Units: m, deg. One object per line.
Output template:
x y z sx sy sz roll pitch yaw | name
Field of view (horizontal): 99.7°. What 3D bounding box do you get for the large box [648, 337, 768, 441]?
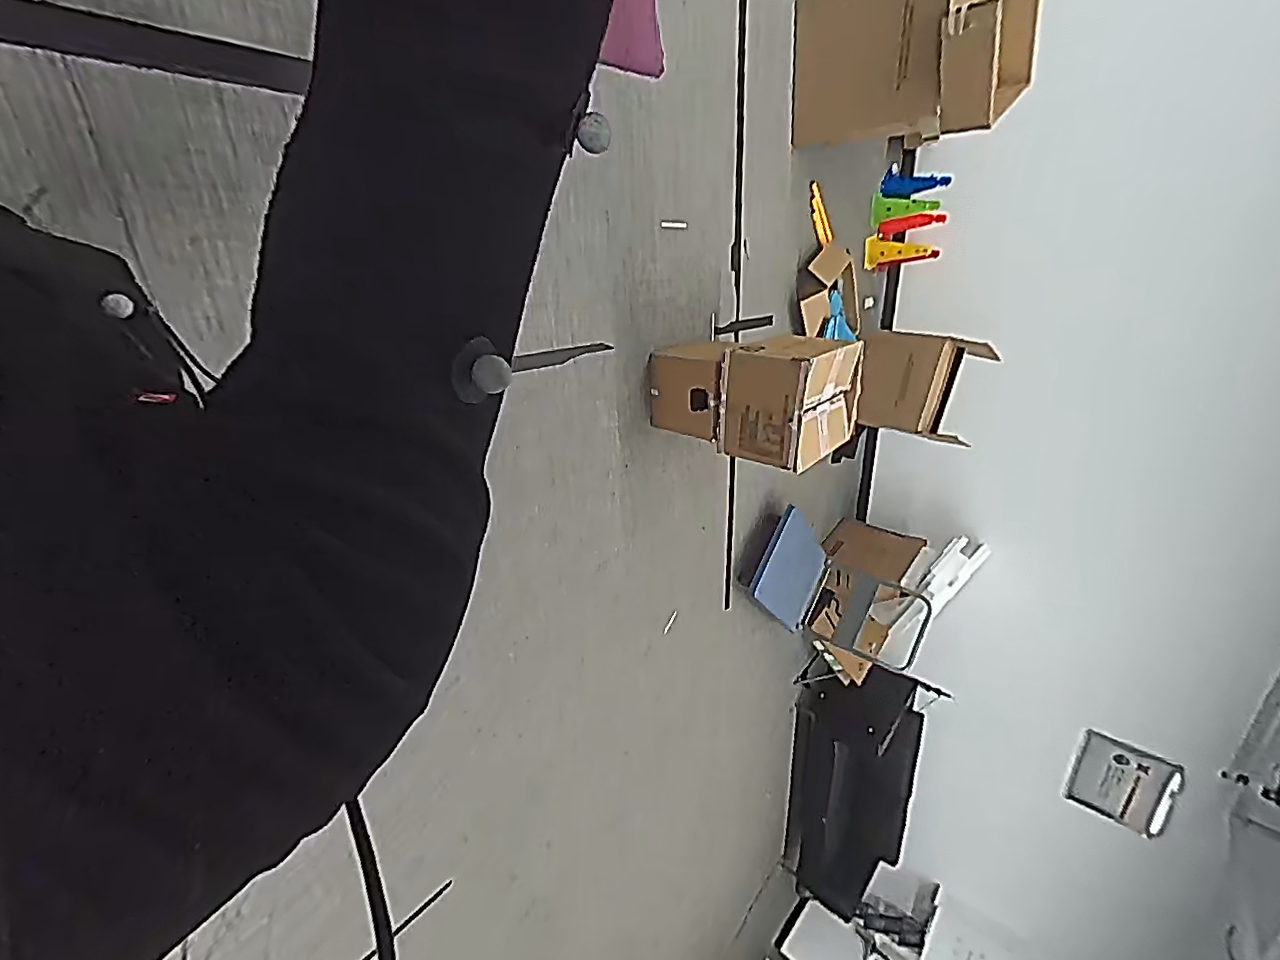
0.281 -0.389 2.214 0.408 0.320 0.320 -25 122 -42 | large box
